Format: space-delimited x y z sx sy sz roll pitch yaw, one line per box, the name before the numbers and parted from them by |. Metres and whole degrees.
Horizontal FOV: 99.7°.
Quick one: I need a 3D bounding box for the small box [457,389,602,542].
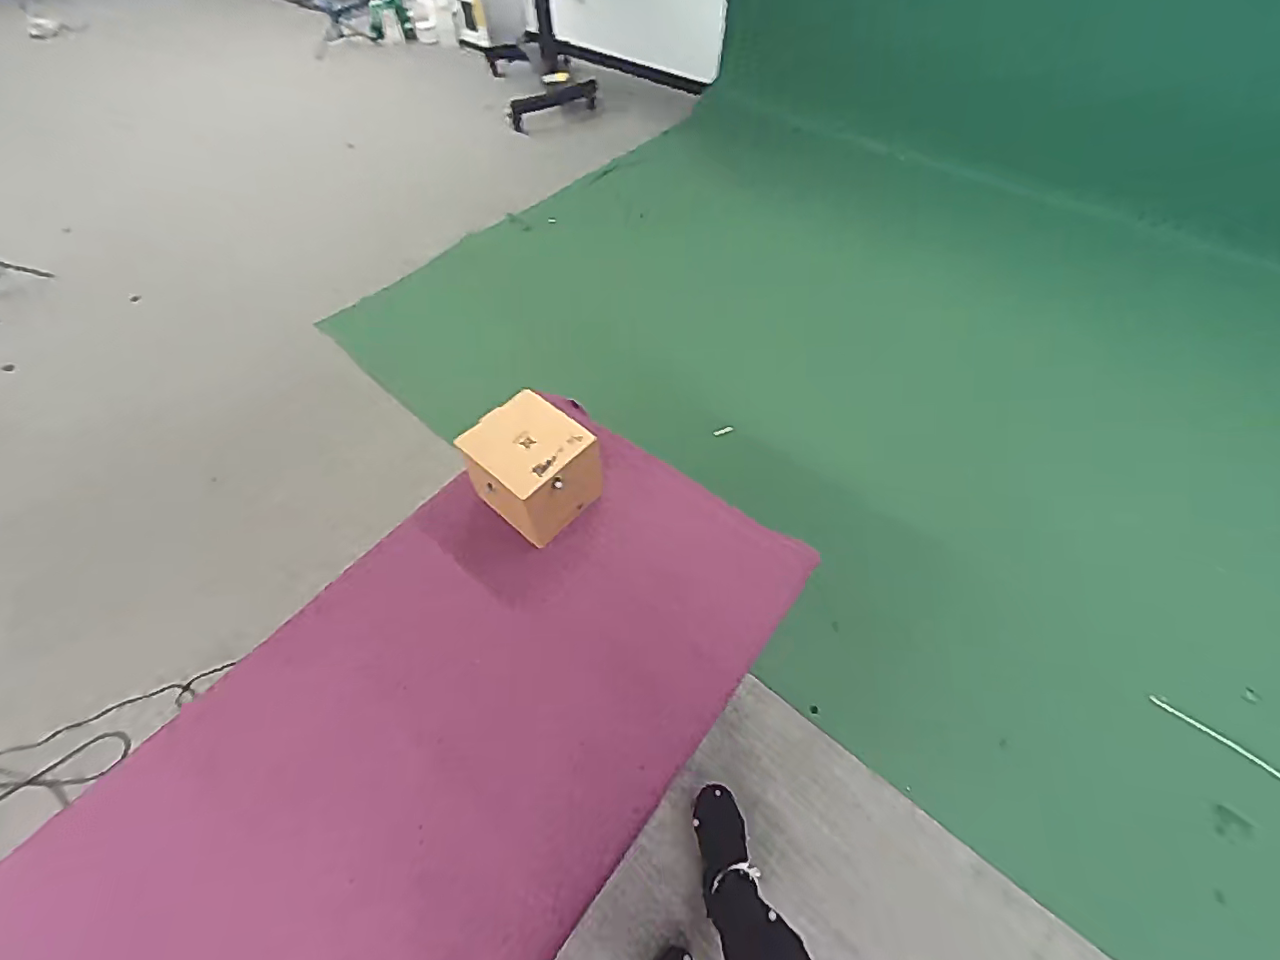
small box | -0.187 -0.021 0.956 0.179 0.176 0.168 36 64 23
